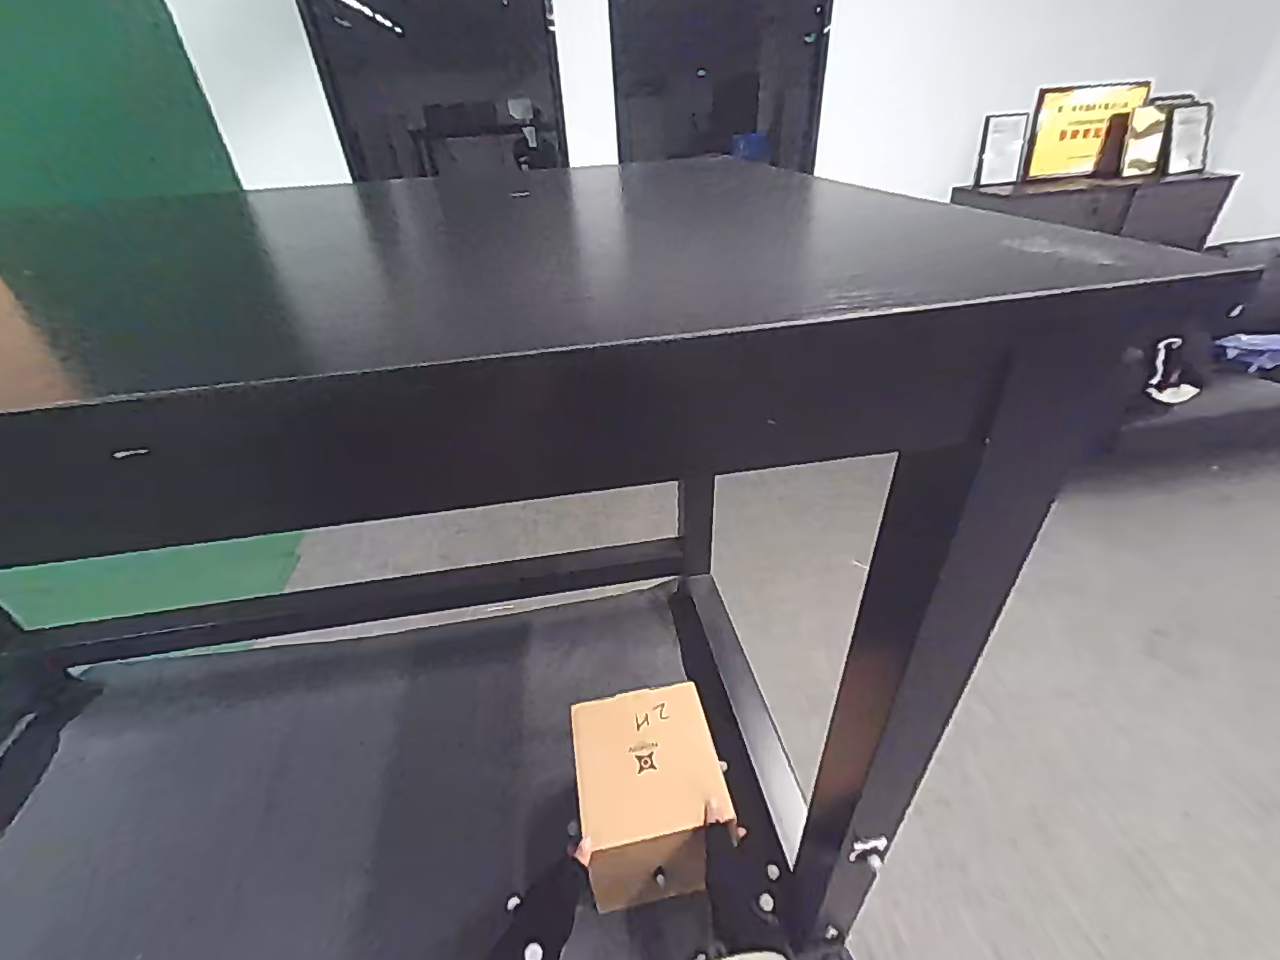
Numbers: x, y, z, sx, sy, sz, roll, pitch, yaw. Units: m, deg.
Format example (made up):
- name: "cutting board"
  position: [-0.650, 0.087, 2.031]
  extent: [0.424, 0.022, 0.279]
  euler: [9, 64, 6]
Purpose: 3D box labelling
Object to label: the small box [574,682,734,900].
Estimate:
- name: "small box"
  position: [0.014, 0.393, 0.683]
  extent: [0.168, 0.176, 0.179]
  euler: [-8, 34, -7]
